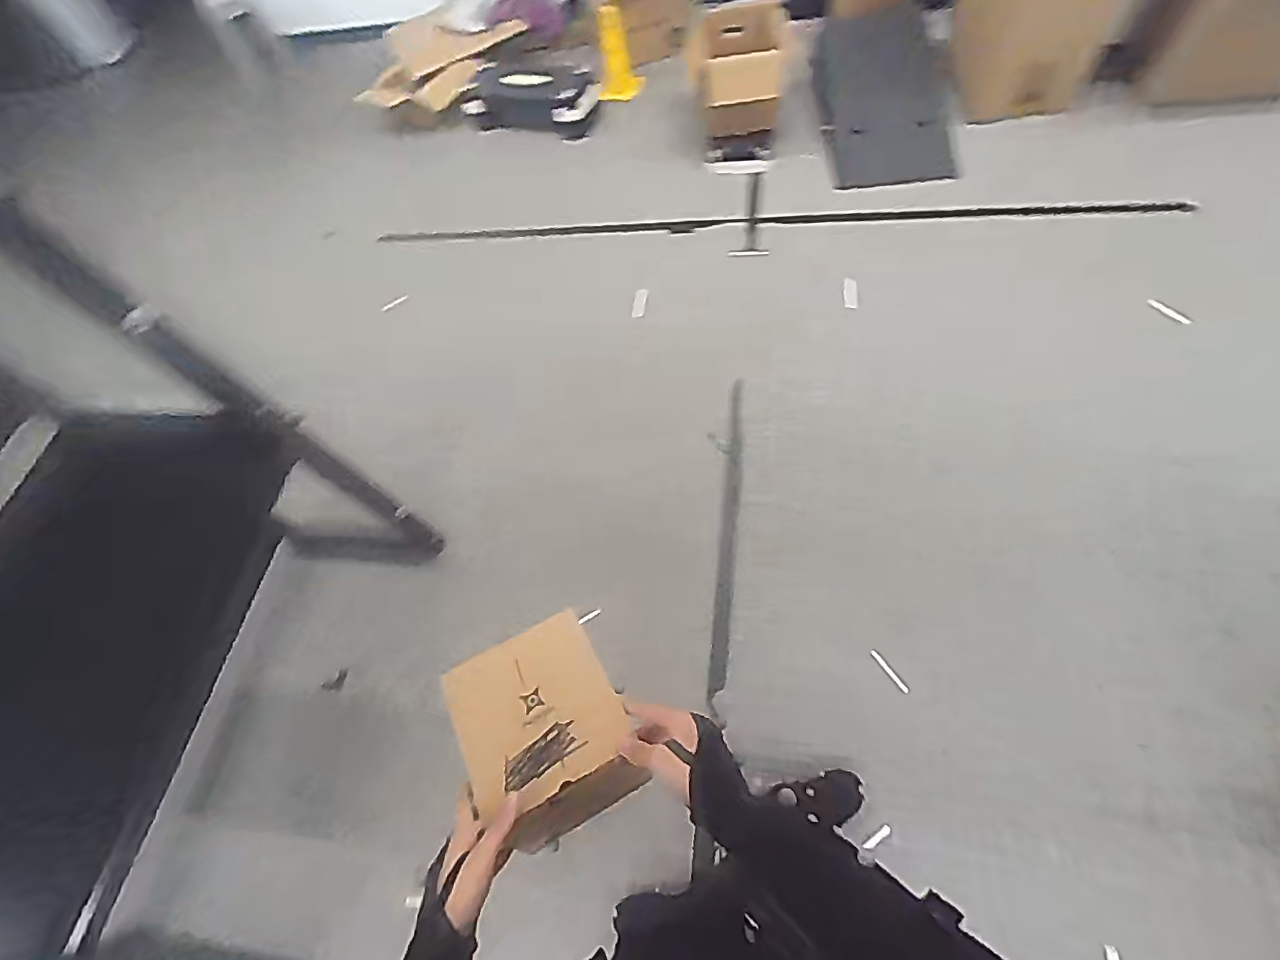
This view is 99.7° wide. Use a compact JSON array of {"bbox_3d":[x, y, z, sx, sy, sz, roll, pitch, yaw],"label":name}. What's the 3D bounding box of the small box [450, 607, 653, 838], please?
[{"bbox_3d":[-0.095,0.289,0.634,0.168,0.176,0.179,-25,52,-14],"label":"small box"}]
